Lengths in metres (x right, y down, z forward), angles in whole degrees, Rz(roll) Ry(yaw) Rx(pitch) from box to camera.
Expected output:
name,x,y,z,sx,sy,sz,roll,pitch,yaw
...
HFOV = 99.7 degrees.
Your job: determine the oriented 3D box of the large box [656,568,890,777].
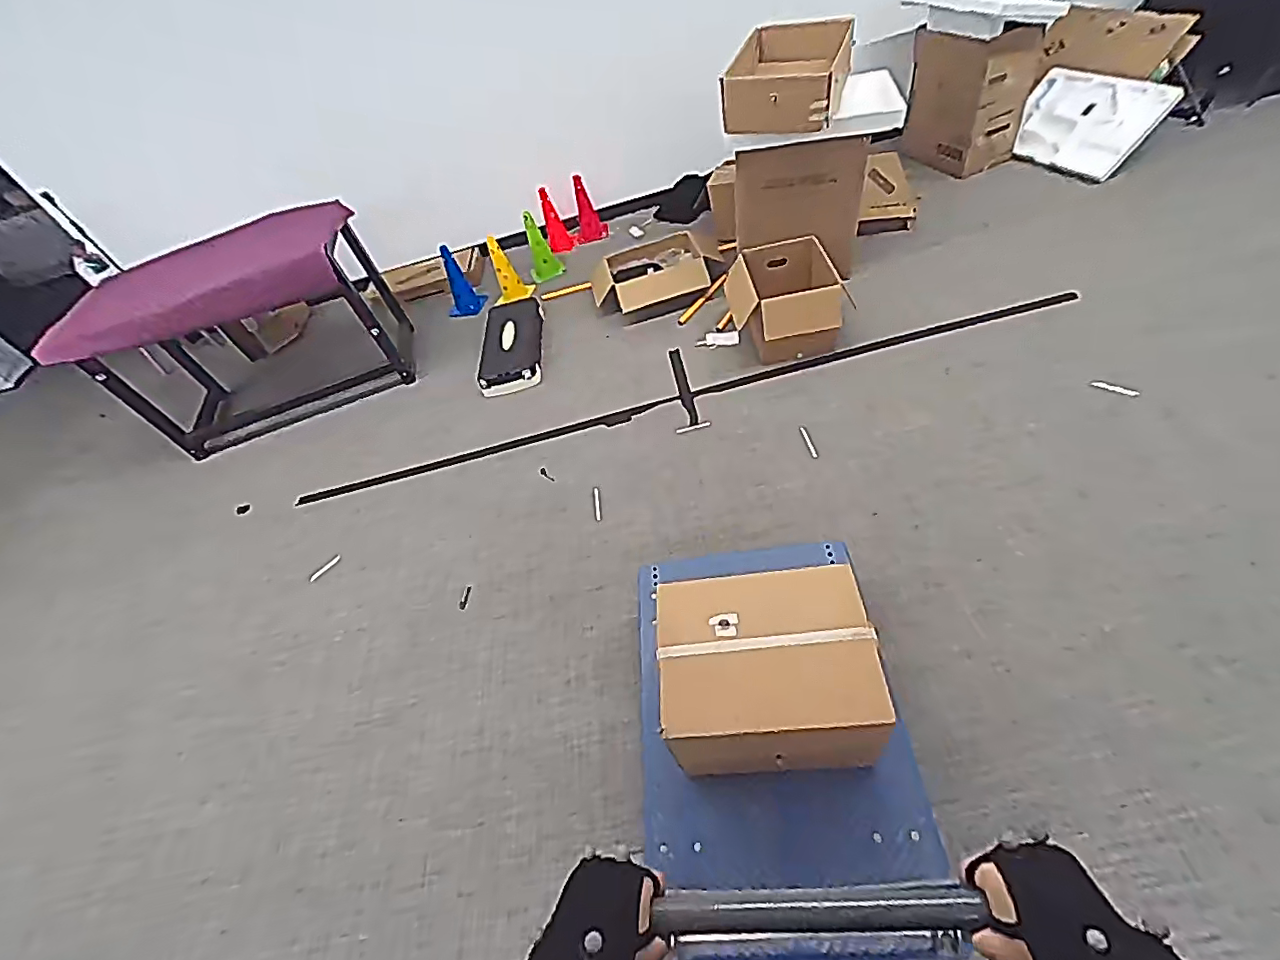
name,x,y,z,sx,sy,sz,roll,pitch,yaw
large box,0.267,0.423,1.158,0.408,0.320,0.320,-9,48,9
